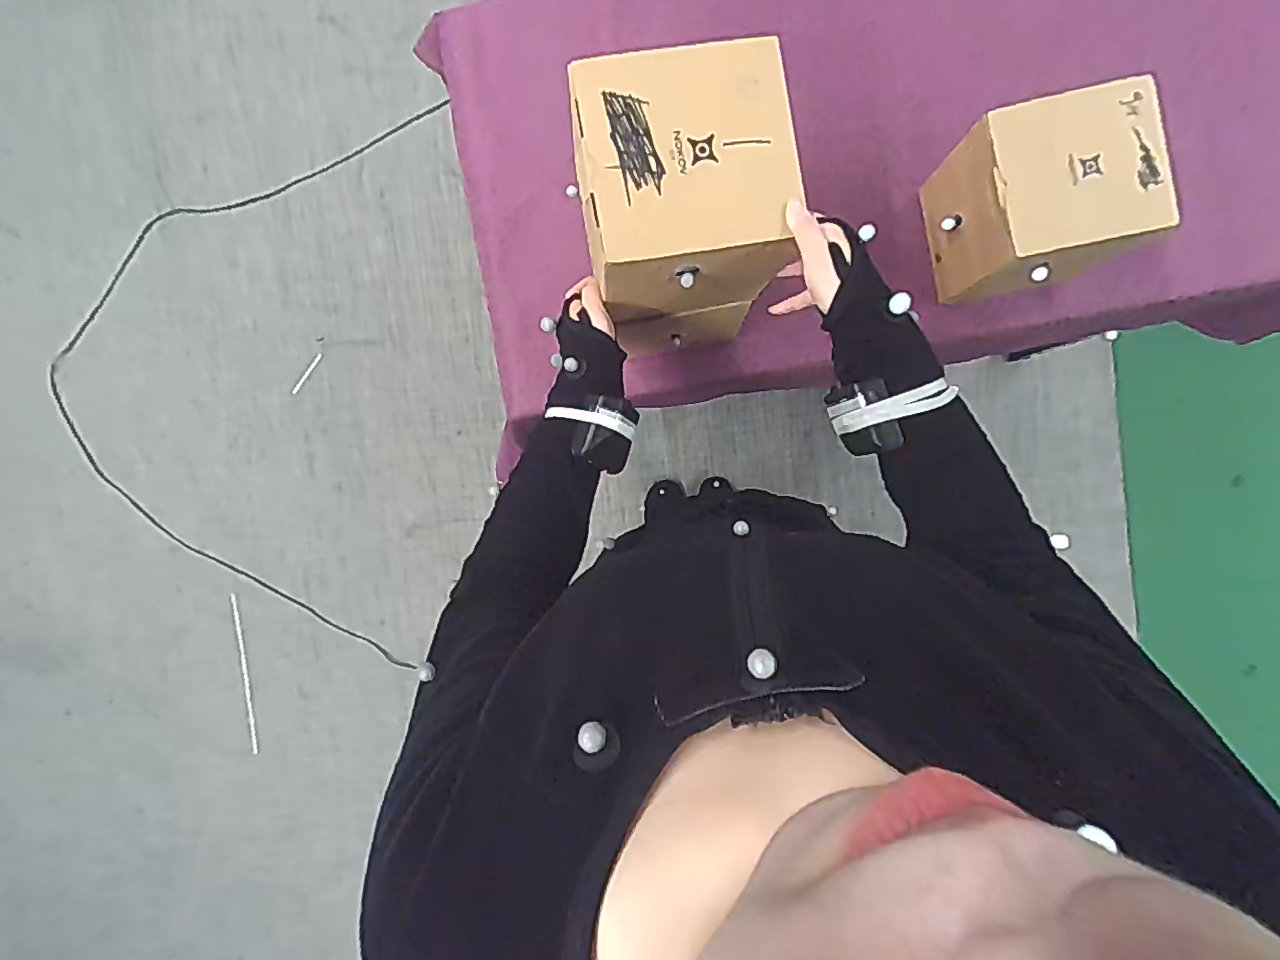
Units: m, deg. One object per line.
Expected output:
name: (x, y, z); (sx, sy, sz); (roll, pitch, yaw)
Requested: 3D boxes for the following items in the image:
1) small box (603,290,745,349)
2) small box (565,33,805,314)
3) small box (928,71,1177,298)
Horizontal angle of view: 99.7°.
small box: (0.033, -0.274, 0.691); (0.168, 0.176, 0.179); (-9, 90, 3)
small box: (0.033, -0.270, 0.516); (0.179, 0.176, 0.168); (-10, 91, -5)
small box: (0.474, -0.338, 0.657); (0.179, 0.176, 0.168); (-10, 91, 5)
